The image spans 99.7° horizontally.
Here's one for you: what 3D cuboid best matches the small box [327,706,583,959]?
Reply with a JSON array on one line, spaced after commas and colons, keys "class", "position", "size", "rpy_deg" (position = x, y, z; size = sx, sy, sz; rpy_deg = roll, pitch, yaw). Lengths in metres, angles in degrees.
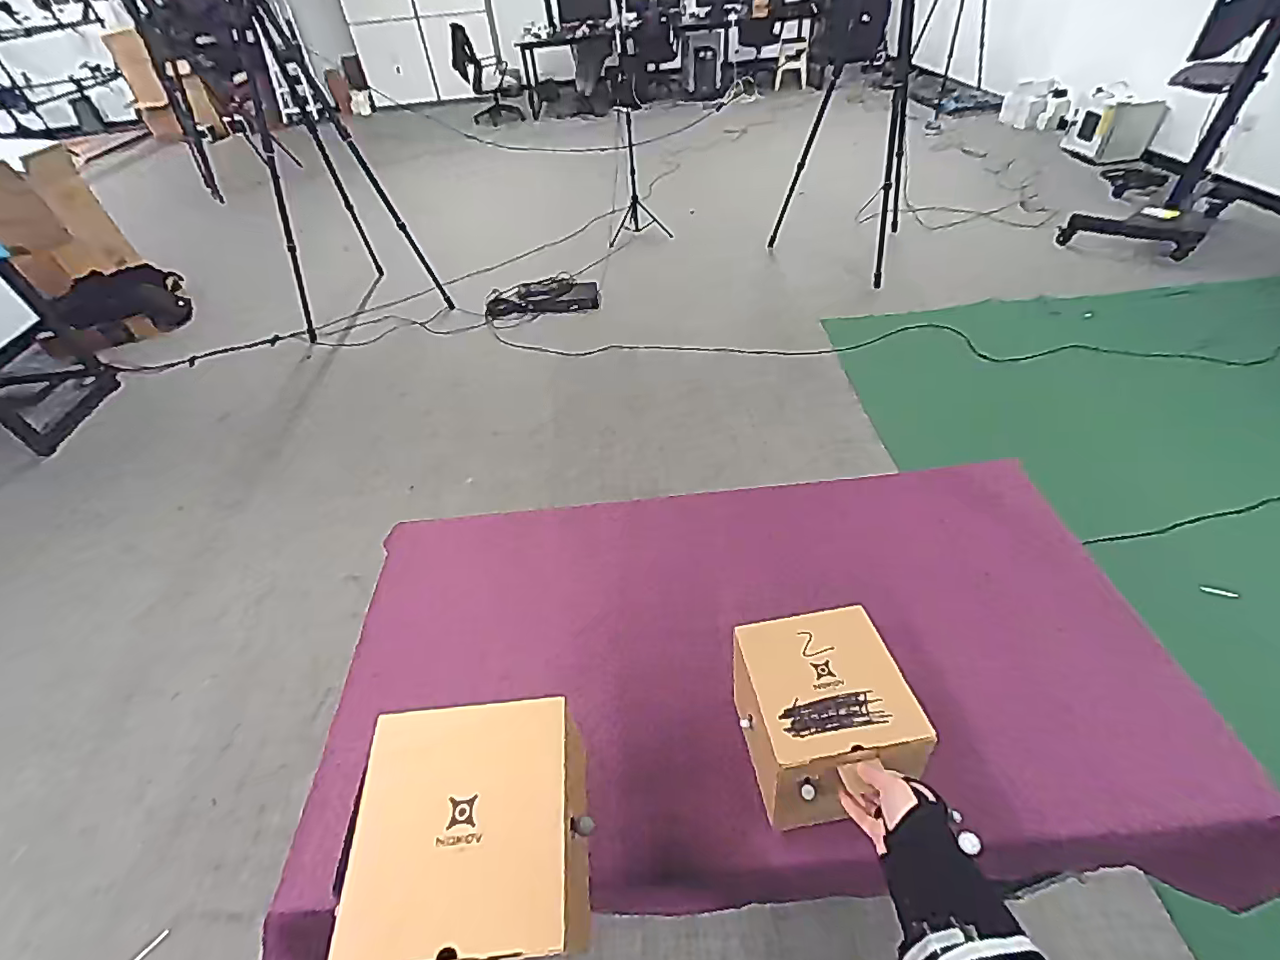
[{"class": "small box", "position": [-0.142, 0.326, 0.489], "size": [0.168, 0.176, 0.179], "rpy_deg": [-5, 51, -2]}]
